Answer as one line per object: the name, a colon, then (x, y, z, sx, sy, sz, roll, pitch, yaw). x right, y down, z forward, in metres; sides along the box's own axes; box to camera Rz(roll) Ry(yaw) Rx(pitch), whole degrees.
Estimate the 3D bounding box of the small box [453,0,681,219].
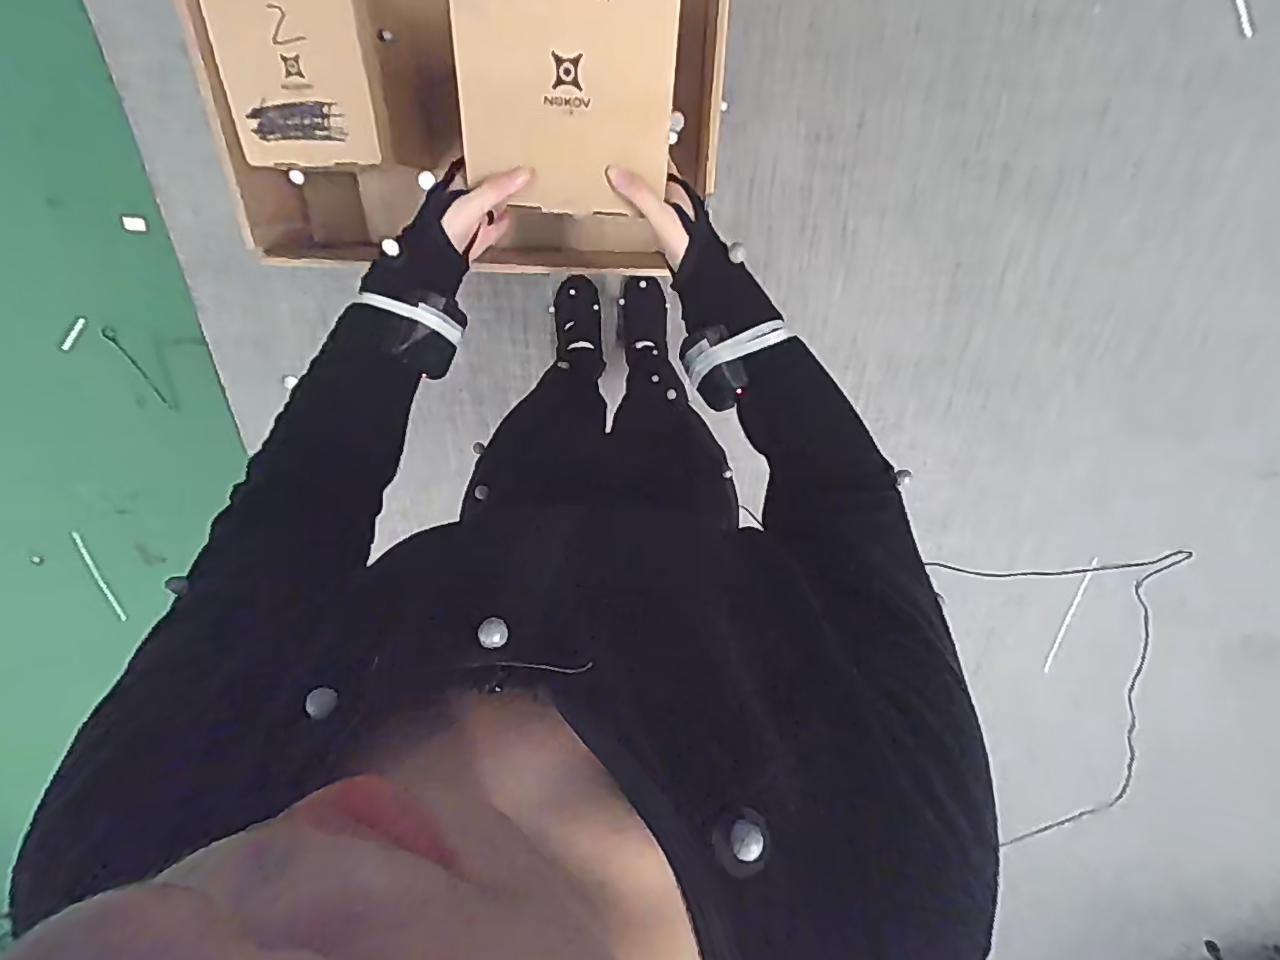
small box: (-0.054, -0.346, 0.480, 0.168, 0.176, 0.179, 4, 123, -1)
